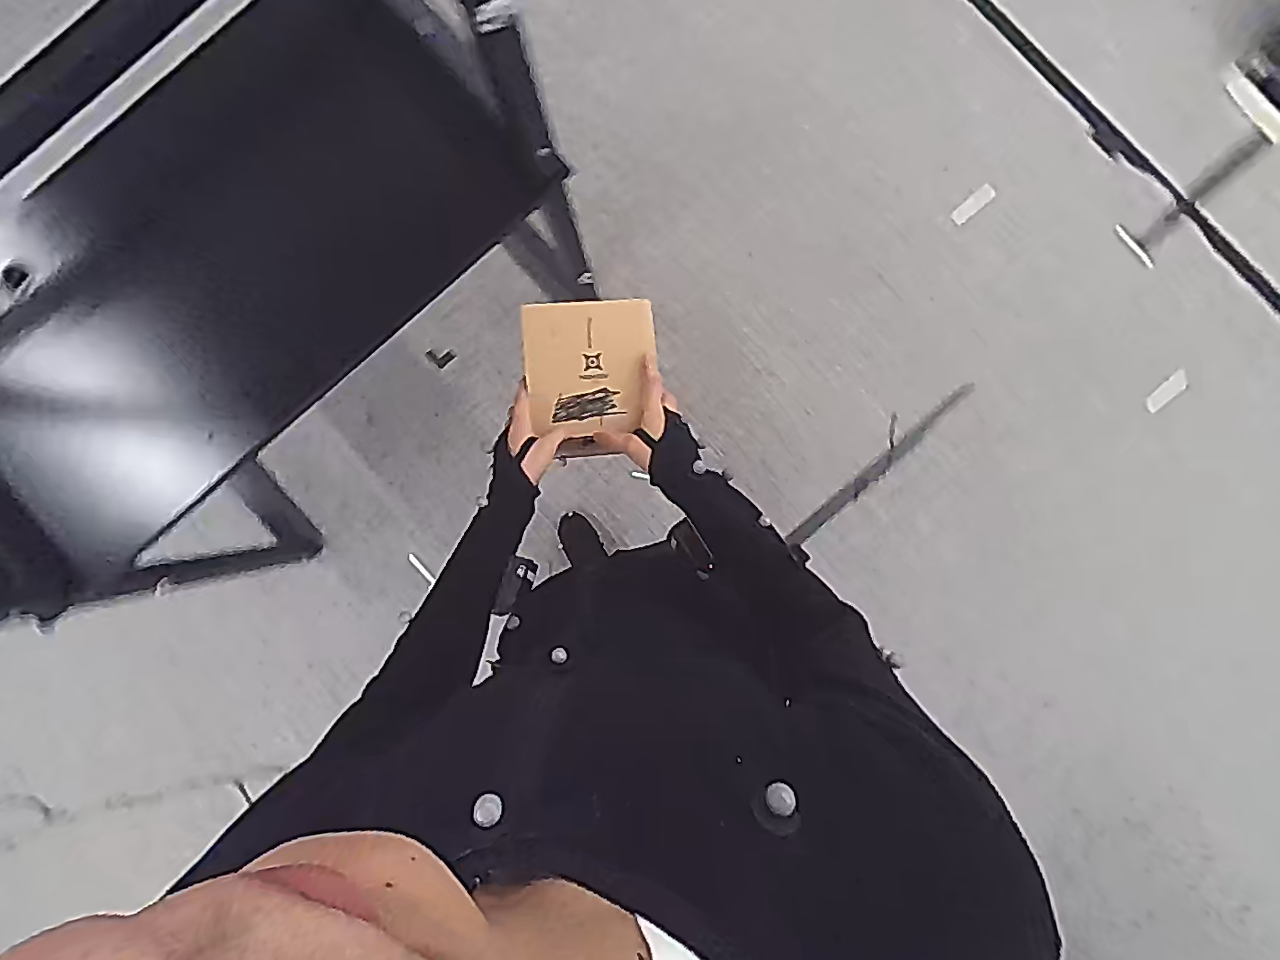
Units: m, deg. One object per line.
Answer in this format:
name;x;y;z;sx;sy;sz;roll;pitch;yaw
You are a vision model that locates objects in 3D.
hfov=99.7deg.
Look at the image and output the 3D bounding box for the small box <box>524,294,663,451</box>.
small box;-0.064;-0.136;0.745;0.168;0.176;0.179;-4;85;-7
